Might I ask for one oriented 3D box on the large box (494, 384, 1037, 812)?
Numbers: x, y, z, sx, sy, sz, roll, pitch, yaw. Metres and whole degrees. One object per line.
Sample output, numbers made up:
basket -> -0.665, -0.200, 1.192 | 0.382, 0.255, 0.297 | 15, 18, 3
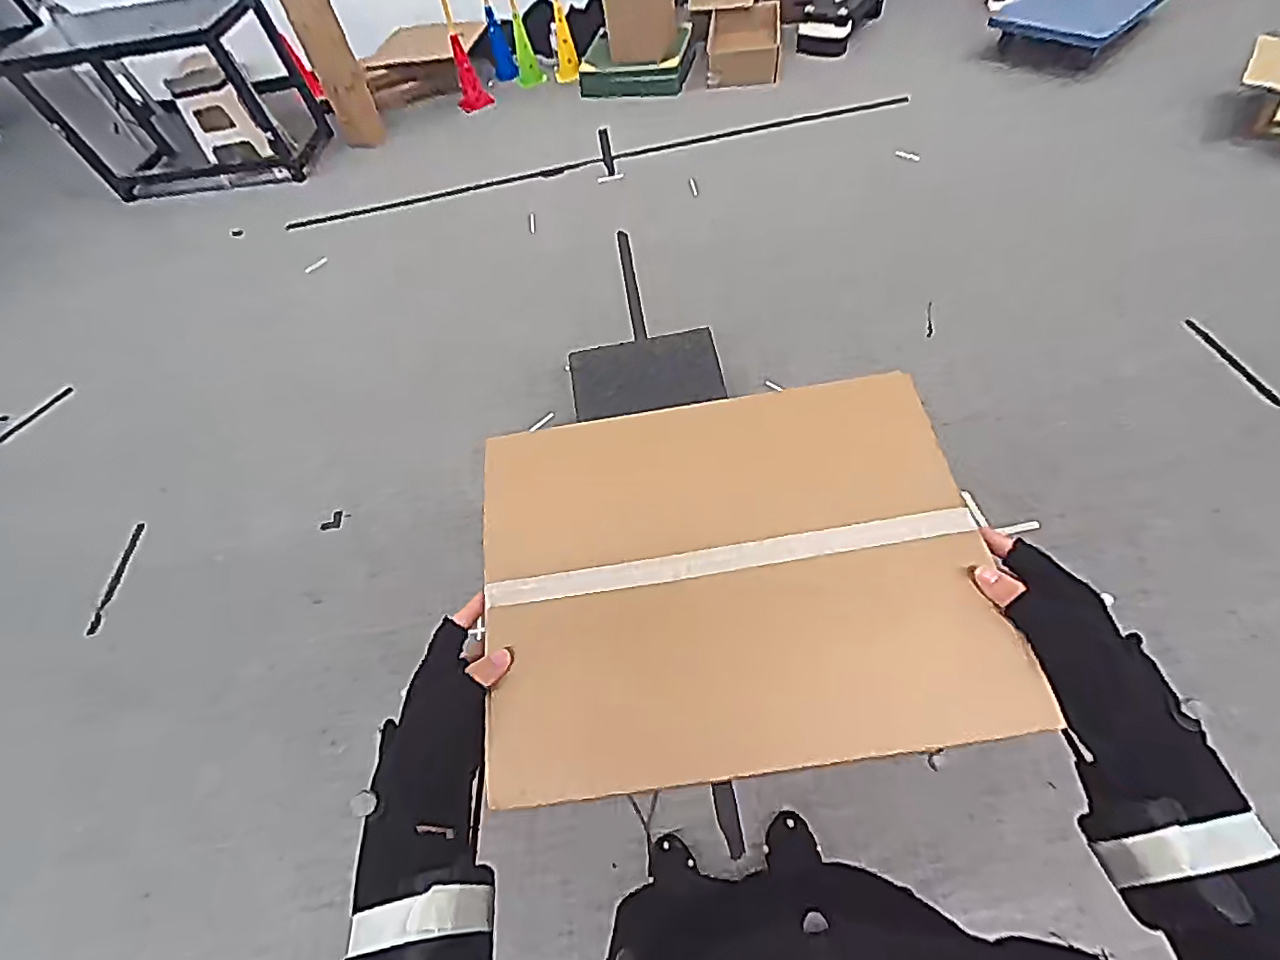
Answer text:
large box -> 0.088, 0.140, 0.591 | 0.408, 0.320, 0.320 | -9, 62, 2
